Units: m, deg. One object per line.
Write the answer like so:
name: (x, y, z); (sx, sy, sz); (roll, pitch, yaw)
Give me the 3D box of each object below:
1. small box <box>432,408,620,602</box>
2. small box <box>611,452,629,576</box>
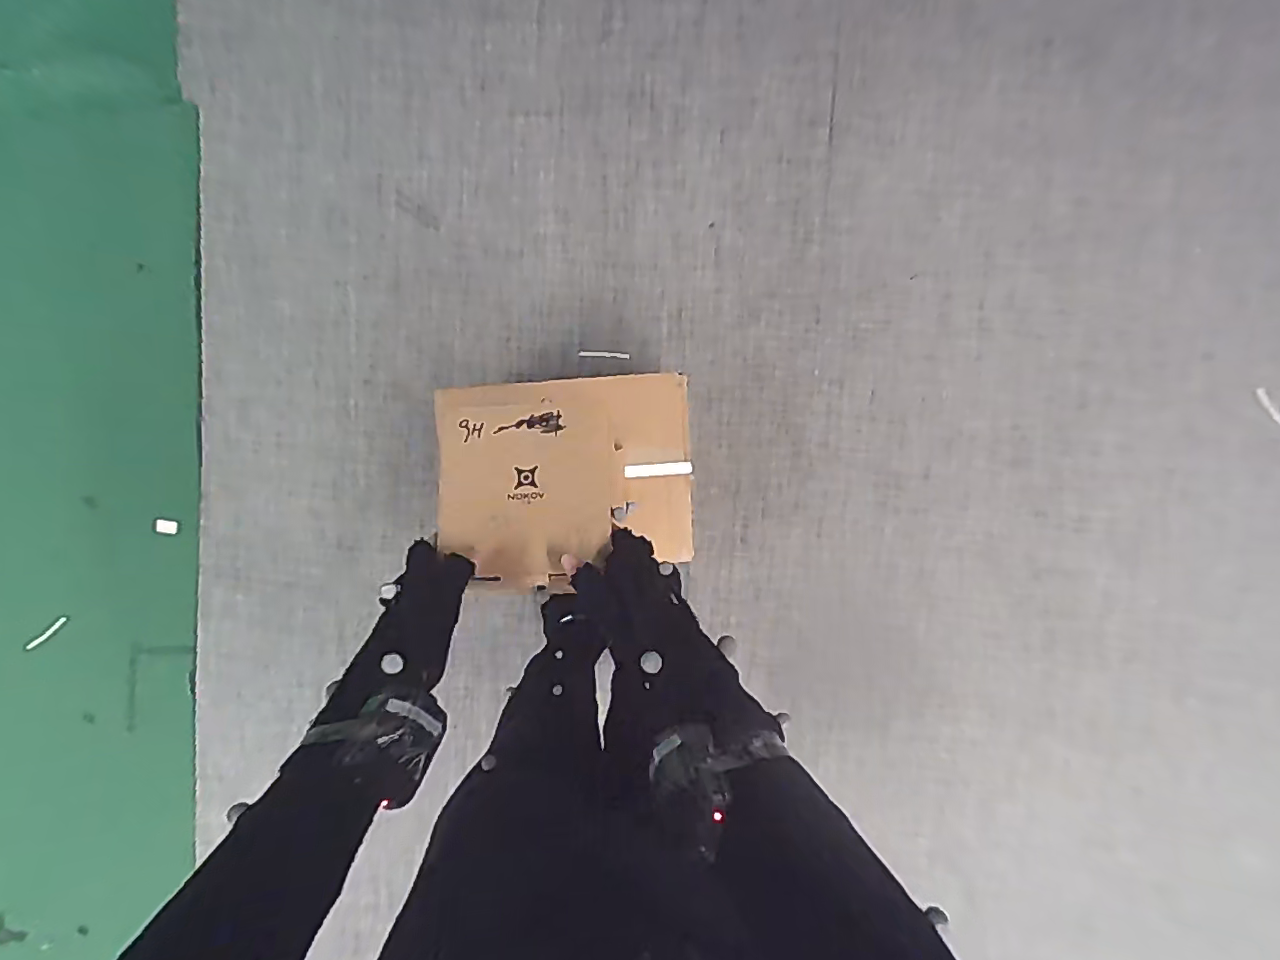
small box: (-0.109, 0.038, 0.588); (0.168, 0.176, 0.179); (-3, 72, 0)
small box: (-0.108, 0.045, 0.788); (0.179, 0.176, 0.168); (-2, 95, 0)
